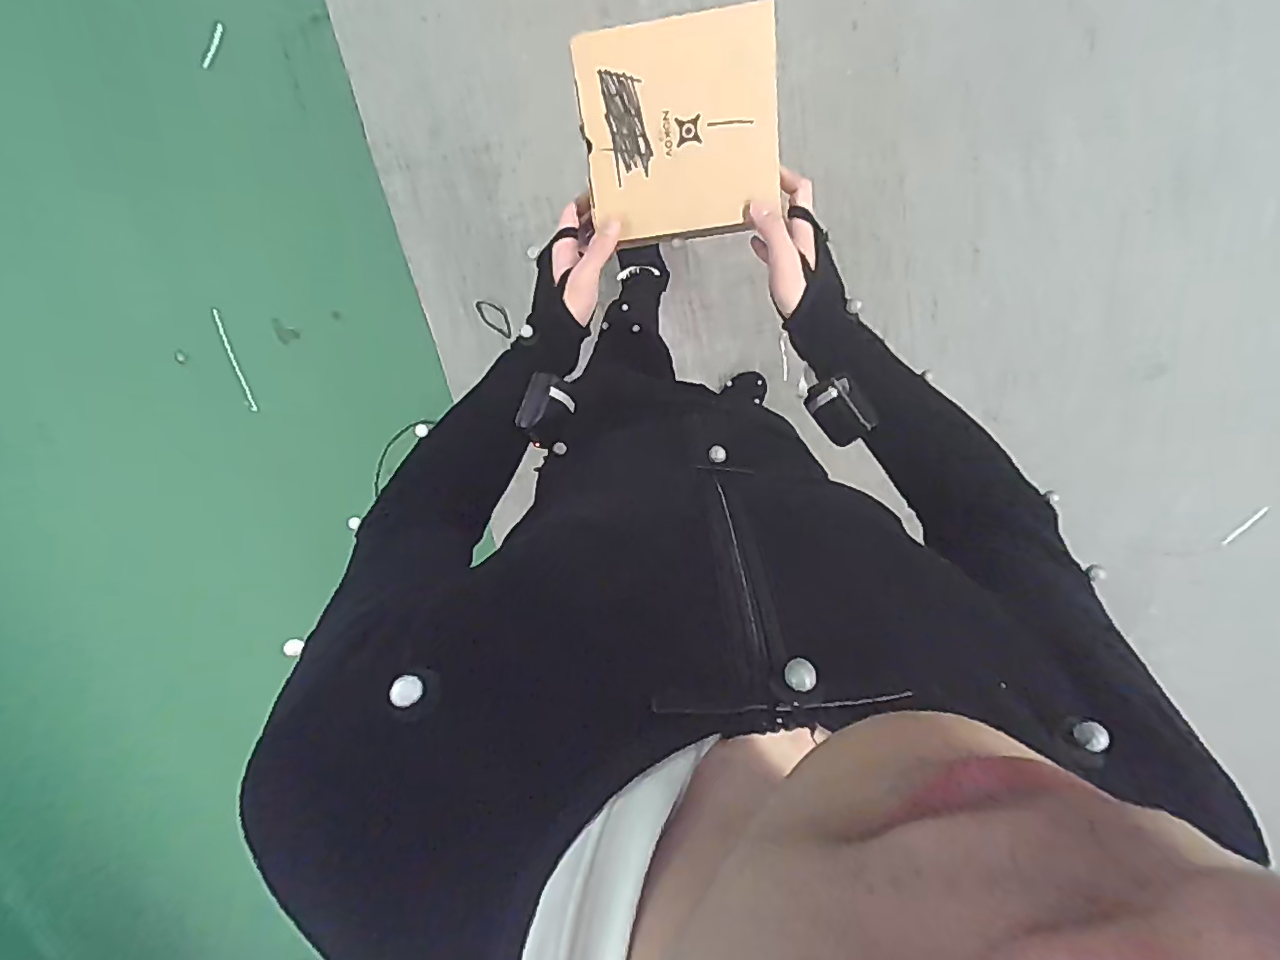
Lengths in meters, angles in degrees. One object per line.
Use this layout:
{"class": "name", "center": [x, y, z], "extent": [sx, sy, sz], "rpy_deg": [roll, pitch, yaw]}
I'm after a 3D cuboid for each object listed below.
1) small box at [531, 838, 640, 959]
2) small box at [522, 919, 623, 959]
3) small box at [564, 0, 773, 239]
{"class": "small box", "center": [-0.109, 0.902, 1.156], "extent": [0.179, 0.176, 0.168], "rpy_deg": [-10, 108, 10]}
{"class": "small box", "center": [-0.127, 0.957, 1.003], "extent": [0.179, 0.176, 0.168], "rpy_deg": [-9, 107, 10]}
{"class": "small box", "center": [0.035, -0.350, 0.557], "extent": [0.179, 0.176, 0.168], "rpy_deg": [-6, 112, 7]}
